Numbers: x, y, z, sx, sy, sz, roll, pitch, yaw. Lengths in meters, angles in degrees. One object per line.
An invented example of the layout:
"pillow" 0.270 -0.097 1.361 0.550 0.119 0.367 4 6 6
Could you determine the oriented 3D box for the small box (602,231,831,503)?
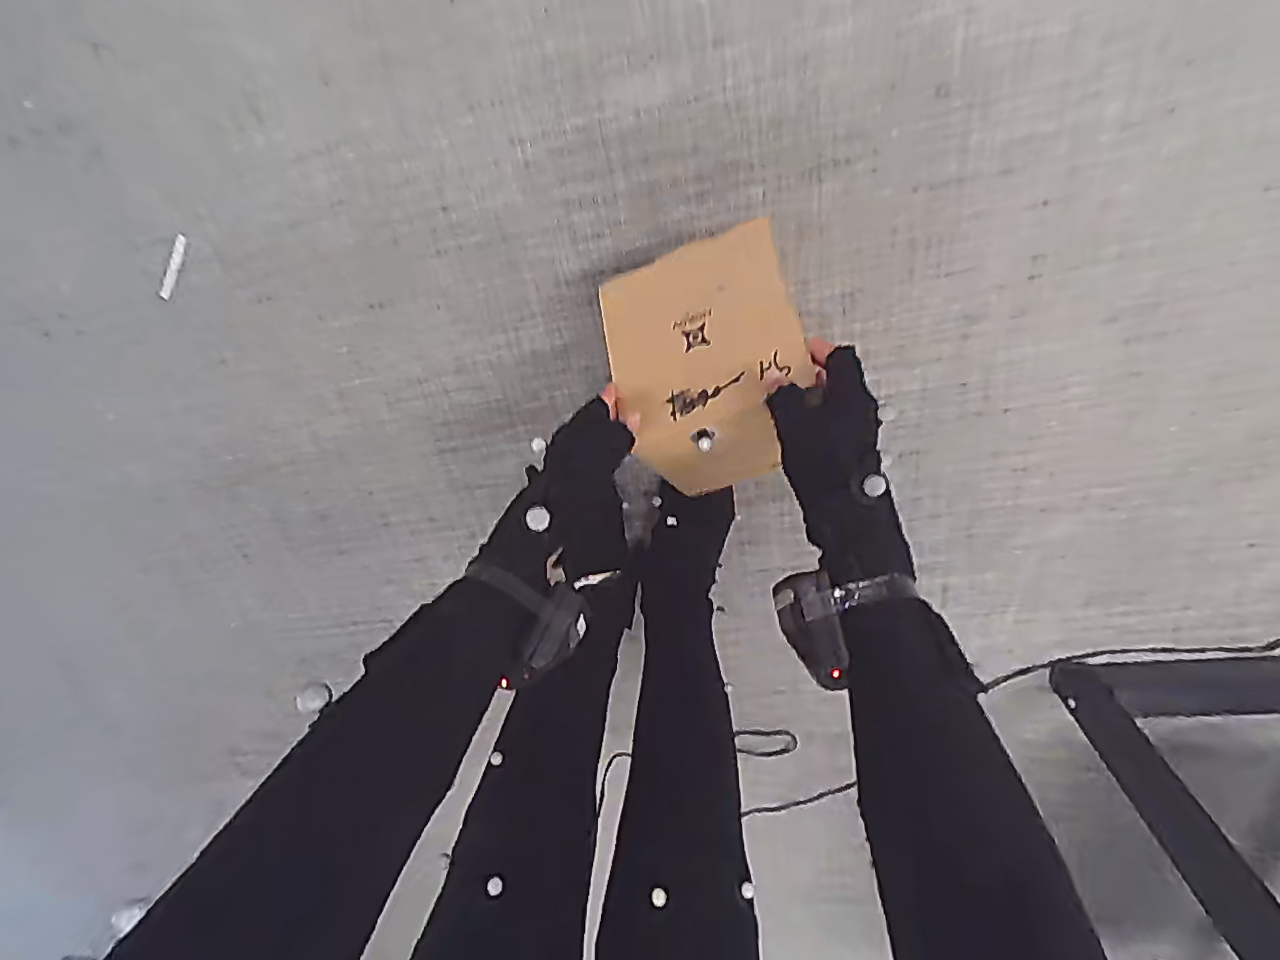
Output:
"small box" 0.079 -0.097 0.539 0.168 0.179 0.176 -18 155 20
